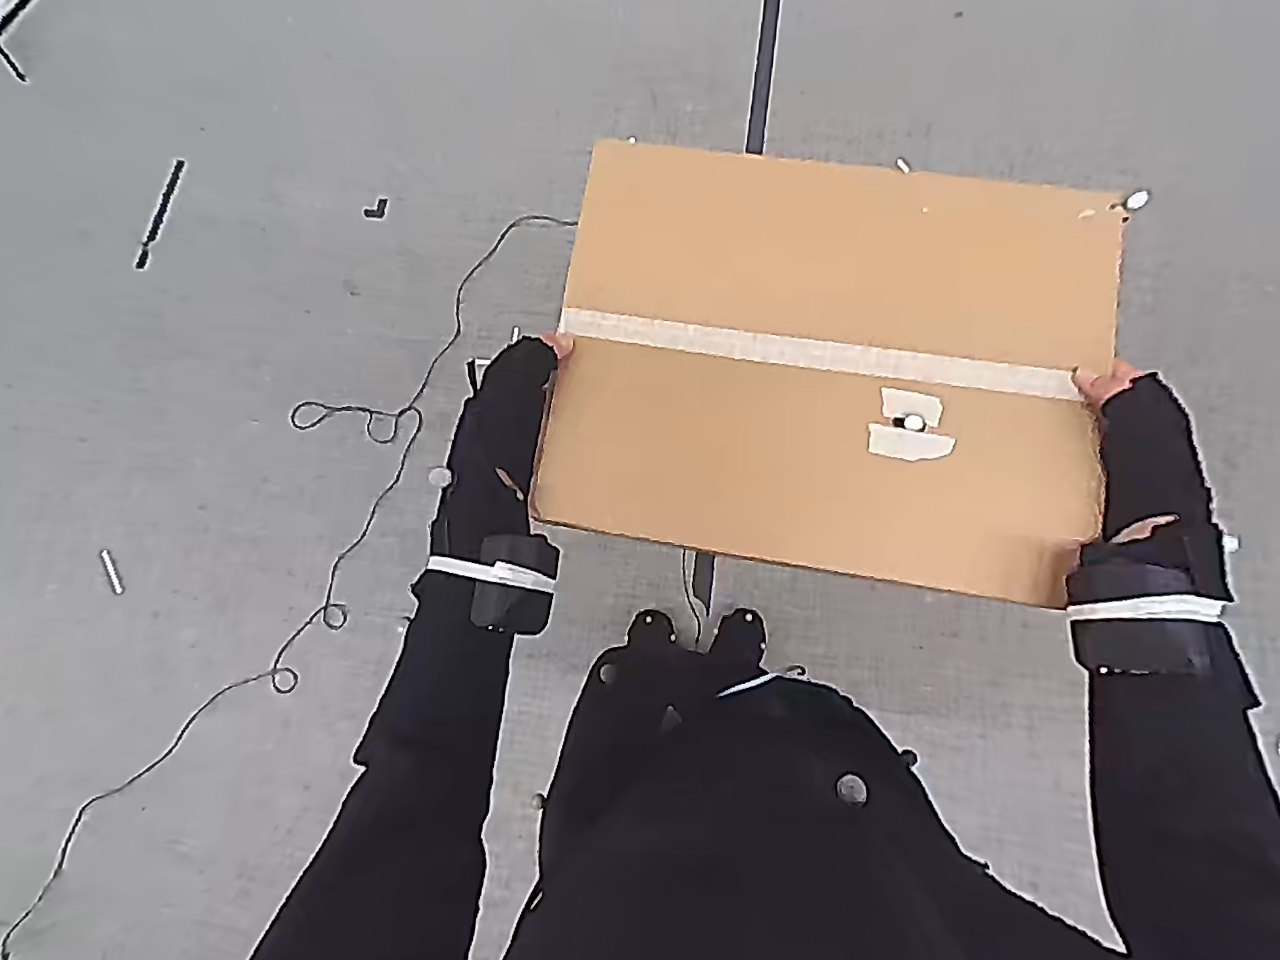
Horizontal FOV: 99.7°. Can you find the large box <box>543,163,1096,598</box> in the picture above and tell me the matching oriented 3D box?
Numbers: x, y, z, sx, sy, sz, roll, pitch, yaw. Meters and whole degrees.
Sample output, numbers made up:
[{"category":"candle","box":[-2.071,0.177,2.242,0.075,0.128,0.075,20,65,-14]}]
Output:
[{"category":"large box","box":[0.147,-0.072,0.568,0.408,0.320,0.320,9,85,4]}]
